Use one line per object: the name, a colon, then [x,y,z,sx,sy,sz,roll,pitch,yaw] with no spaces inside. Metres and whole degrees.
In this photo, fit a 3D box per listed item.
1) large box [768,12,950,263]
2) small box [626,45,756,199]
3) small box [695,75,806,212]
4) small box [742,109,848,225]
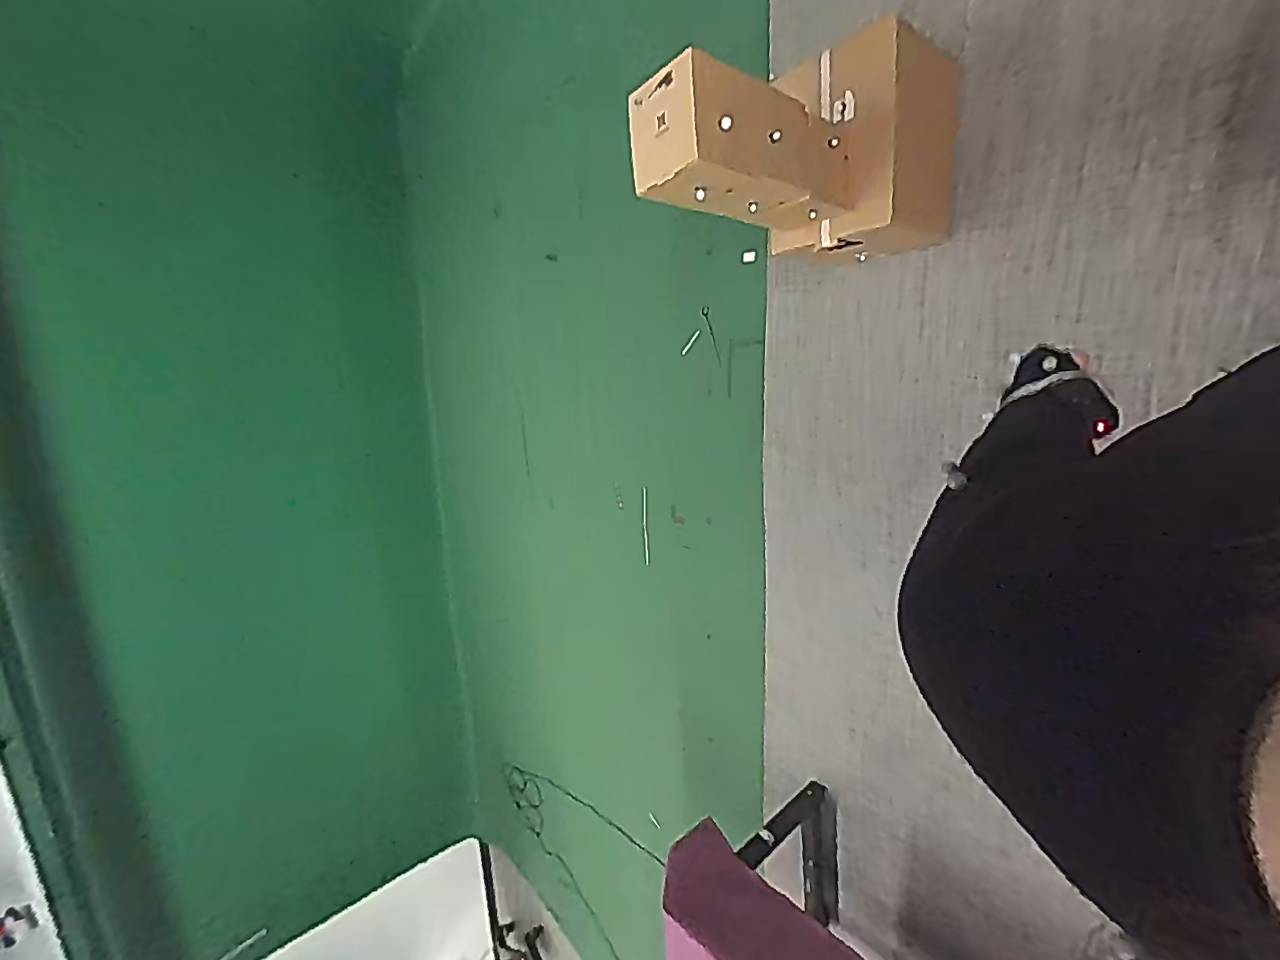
large box: [0.535,-0.789,1.330,0.320,0.320,0.408,9,105,48]
small box: [0.097,-0.635,0.990,0.168,0.176,0.179,5,103,49]
small box: [0.220,-0.663,1.096,0.168,0.176,0.179,1,99,49]
small box: [0.344,-0.682,1.201,0.179,0.176,0.168,8,105,50]
